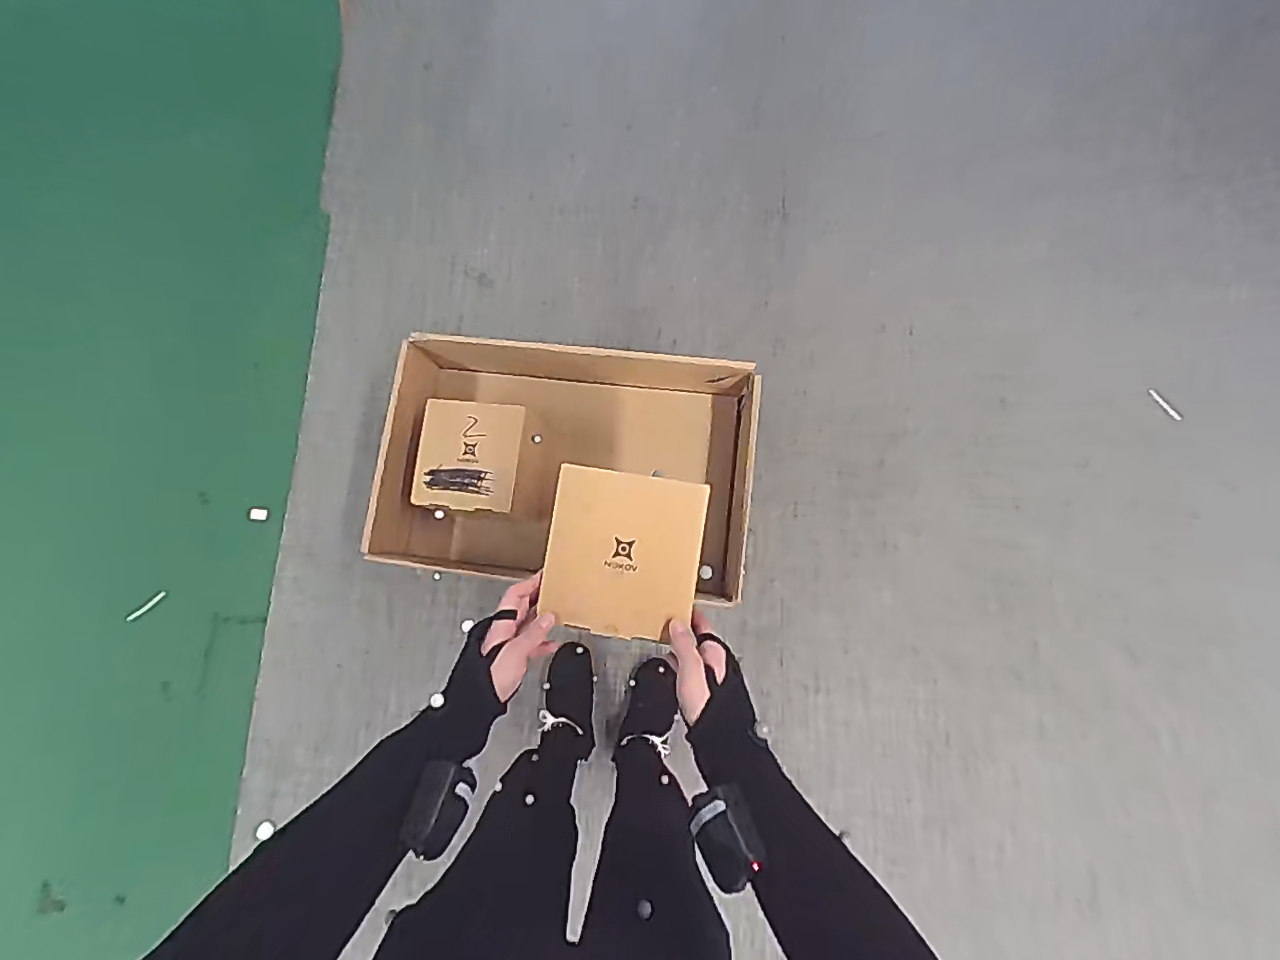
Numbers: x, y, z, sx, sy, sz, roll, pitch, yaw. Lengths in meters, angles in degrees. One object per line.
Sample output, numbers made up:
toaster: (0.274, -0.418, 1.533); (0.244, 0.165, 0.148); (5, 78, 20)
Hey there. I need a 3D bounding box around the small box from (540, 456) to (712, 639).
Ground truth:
small box: (-0.012, 0.078, 0.660); (0.168, 0.176, 0.179); (8, 86, 4)
